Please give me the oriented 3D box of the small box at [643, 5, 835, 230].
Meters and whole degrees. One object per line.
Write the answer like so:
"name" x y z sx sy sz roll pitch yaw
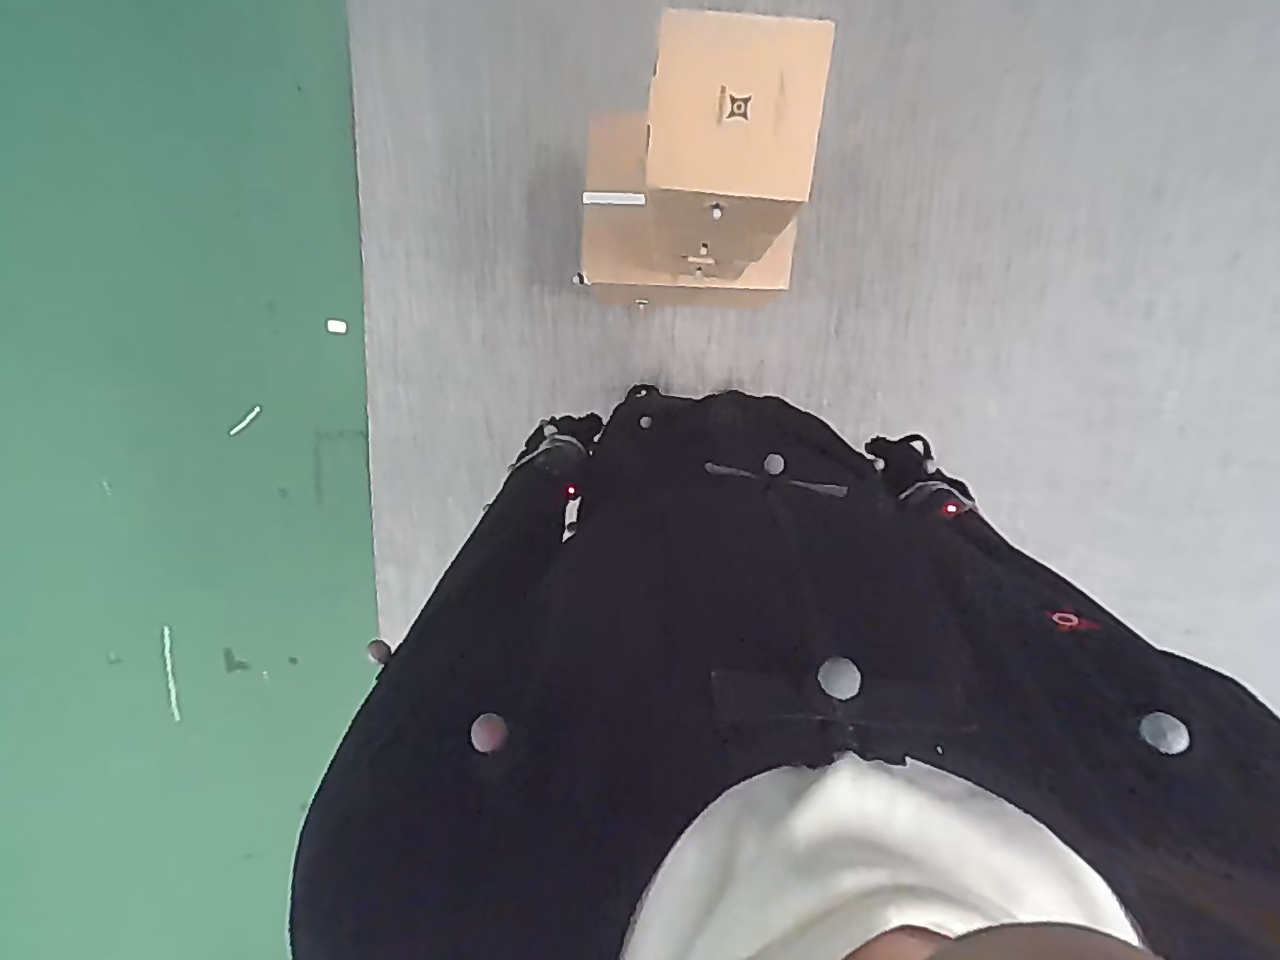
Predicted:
"small box" 0.102 -0.398 0.624 0.179 0.176 0.168 6 103 2

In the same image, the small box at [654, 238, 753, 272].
"small box" 0.120 -0.468 0.942 0.168 0.176 0.179 6 103 3

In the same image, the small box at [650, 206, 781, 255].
"small box" 0.114 -0.431 0.782 0.179 0.176 0.168 7 102 5
